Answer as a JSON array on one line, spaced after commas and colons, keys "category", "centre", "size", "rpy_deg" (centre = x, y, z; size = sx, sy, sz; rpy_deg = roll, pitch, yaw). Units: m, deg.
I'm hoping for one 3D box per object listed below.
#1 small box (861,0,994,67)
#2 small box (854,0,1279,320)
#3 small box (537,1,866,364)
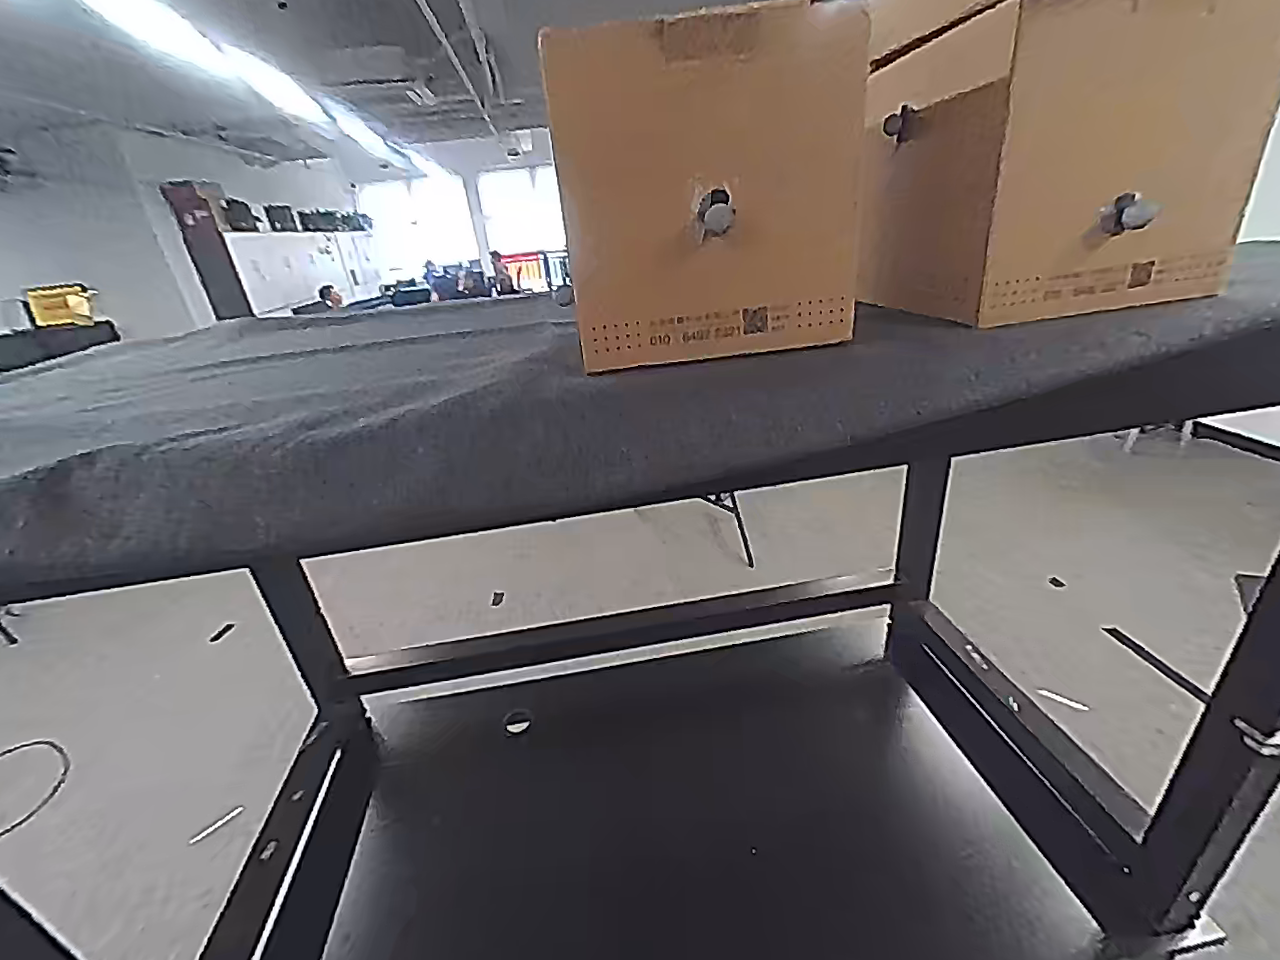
[{"category": "small box", "centre": [0.253, -0.359, 0.301], "size": [0.179, 0.176, 0.168], "rpy_deg": [-9, 25, -8]}, {"category": "small box", "centre": [0.267, -0.214, 0.382], "size": [0.168, 0.176, 0.179], "rpy_deg": [-9, 25, -3]}, {"category": "small box", "centre": [0.033, -0.180, 0.368], "size": [0.168, 0.176, 0.179], "rpy_deg": [-7, 25, -2]}]
